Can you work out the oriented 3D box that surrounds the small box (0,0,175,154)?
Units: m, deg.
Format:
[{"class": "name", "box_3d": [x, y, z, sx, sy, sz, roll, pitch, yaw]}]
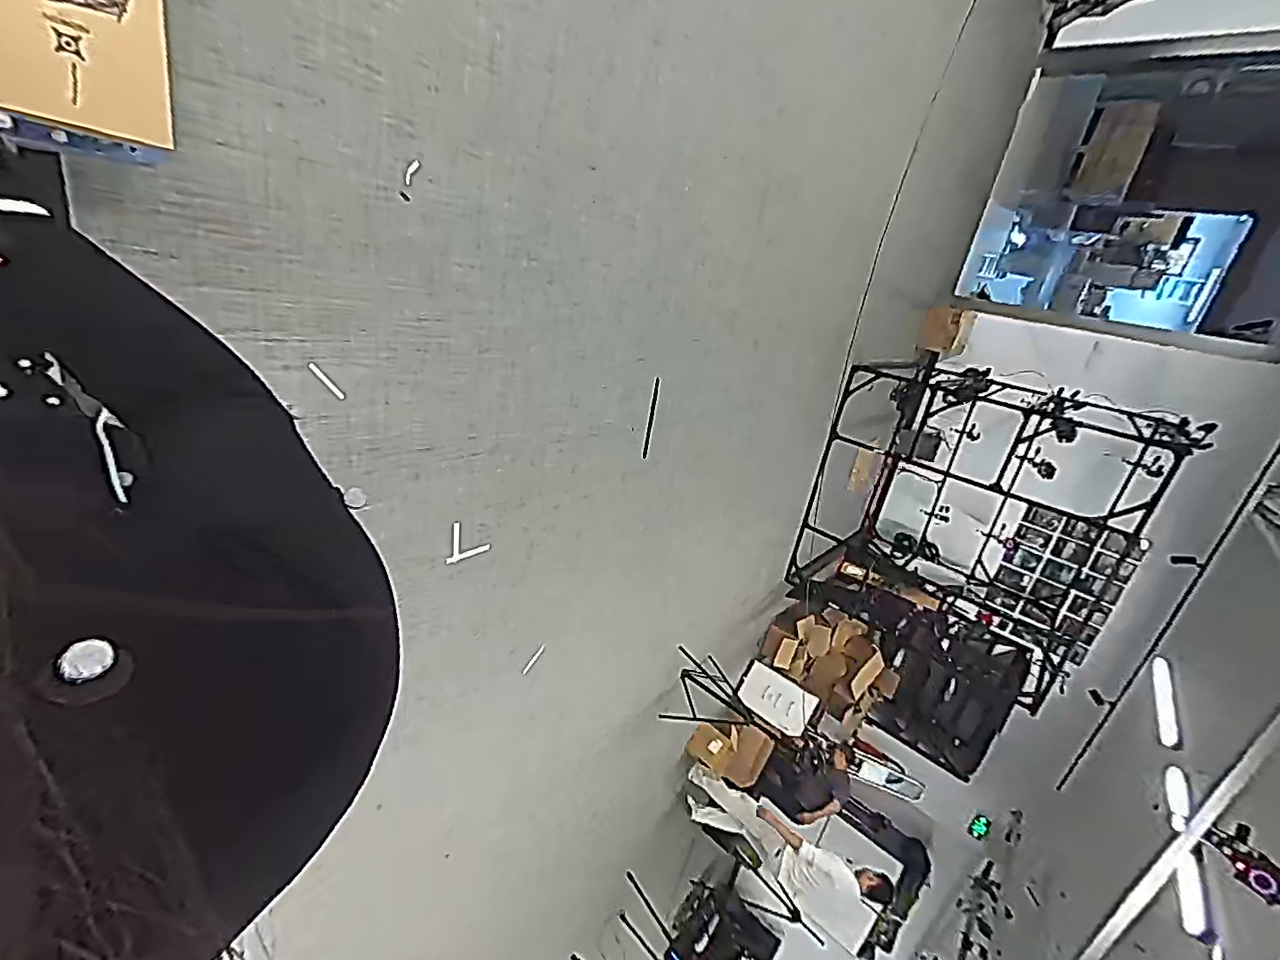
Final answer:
[{"class": "small box", "box_3d": [-0.674, -0.502, 0.627, 0.168, 0.176, 0.179, -12, 121, -51]}]
